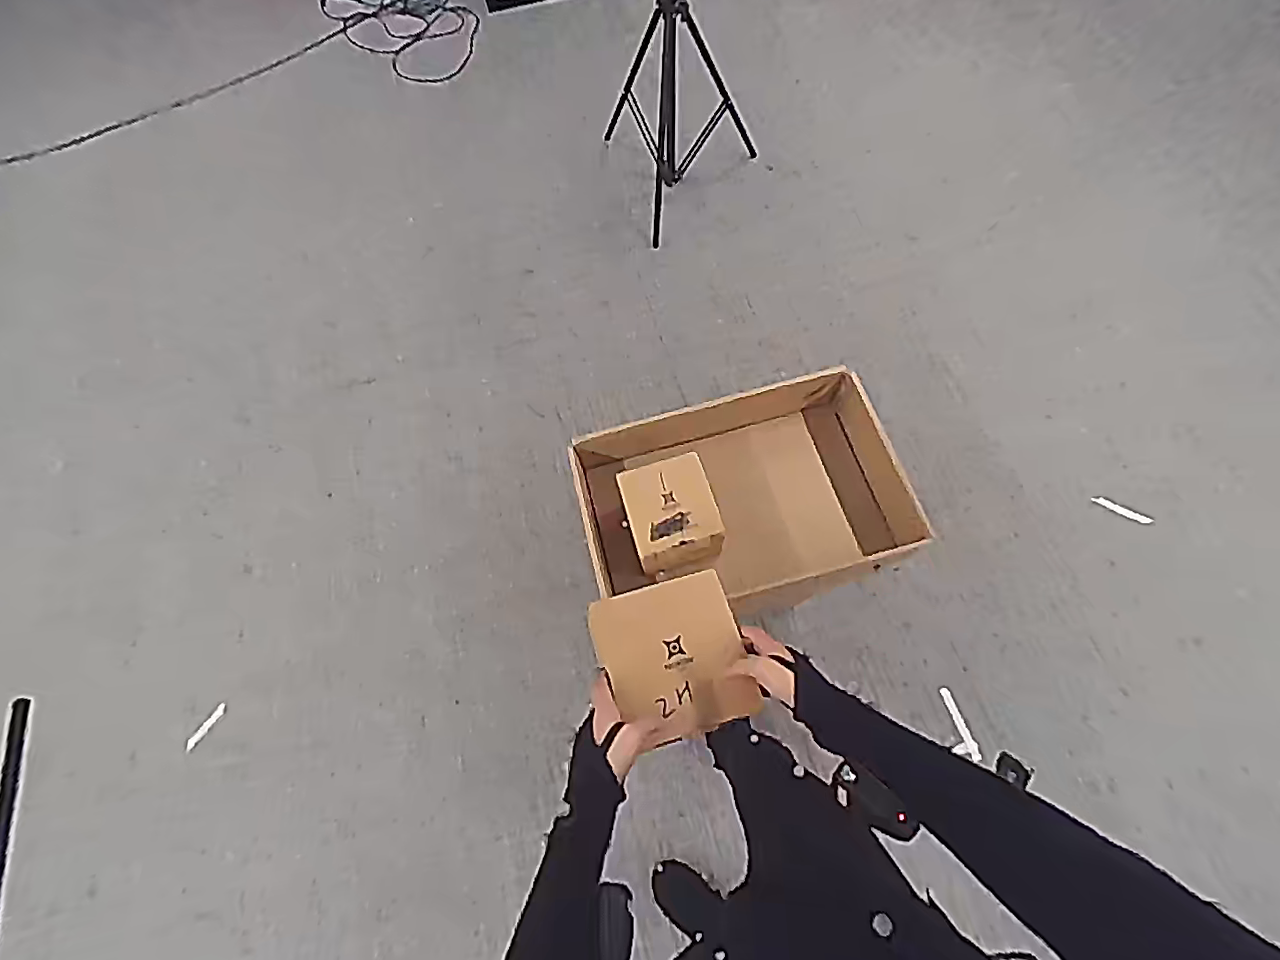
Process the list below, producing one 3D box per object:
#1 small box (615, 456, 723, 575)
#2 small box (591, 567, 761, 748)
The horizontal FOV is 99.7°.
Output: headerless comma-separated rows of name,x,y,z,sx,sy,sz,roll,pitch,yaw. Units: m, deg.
small box,0.059,0.080,1.080,0.168,0.176,0.179,-16,67,-2
small box,0.032,0.235,0.709,0.168,0.176,0.179,-14,68,-11
